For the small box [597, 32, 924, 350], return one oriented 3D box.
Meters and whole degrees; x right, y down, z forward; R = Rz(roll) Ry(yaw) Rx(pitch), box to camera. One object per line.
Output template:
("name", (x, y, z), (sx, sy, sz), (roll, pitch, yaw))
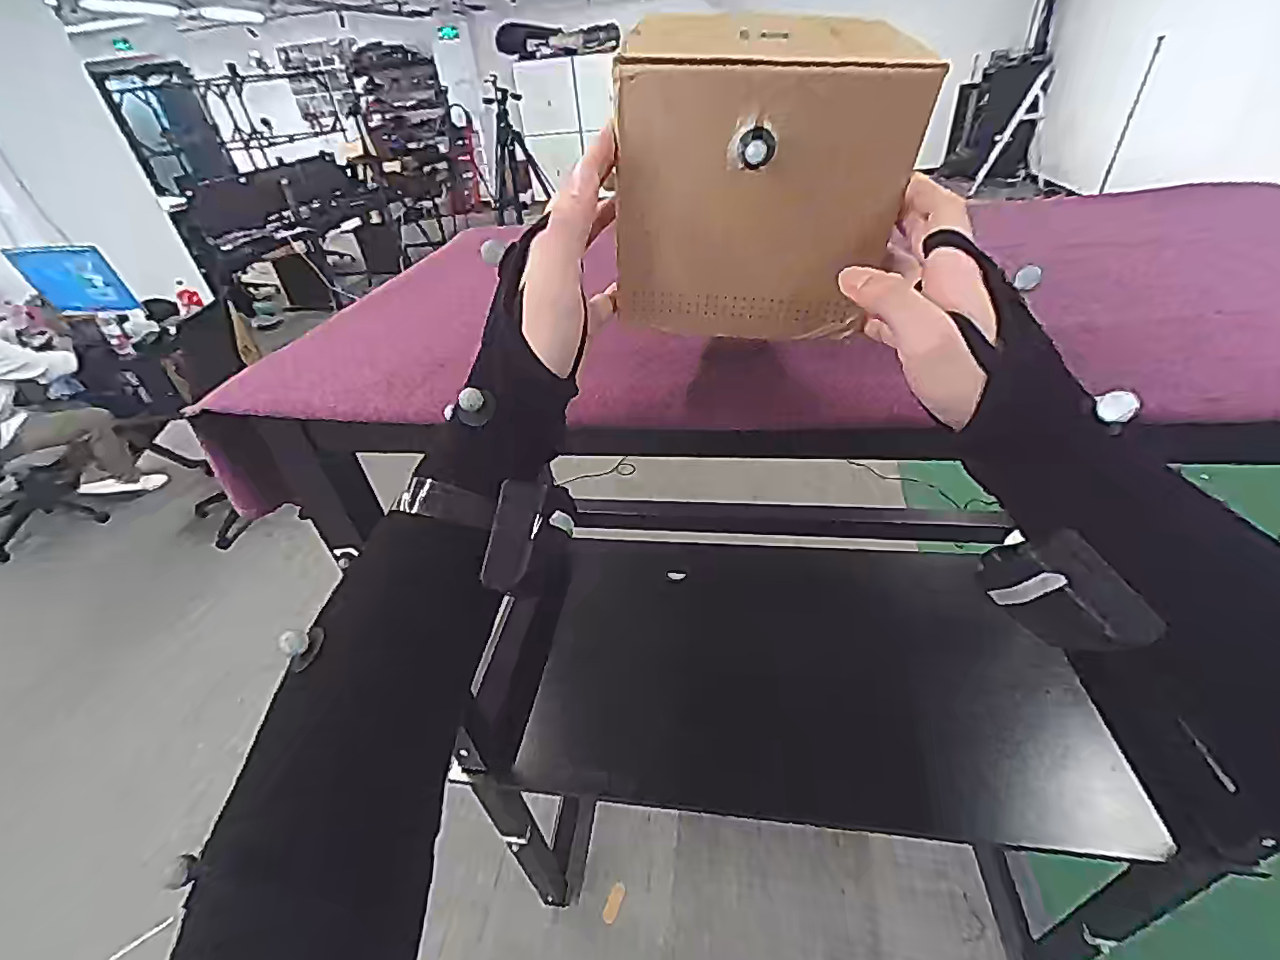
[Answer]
("small box", (0.072, -0.211, 0.397), (0.179, 0.176, 0.168), (5, 46, 5))
